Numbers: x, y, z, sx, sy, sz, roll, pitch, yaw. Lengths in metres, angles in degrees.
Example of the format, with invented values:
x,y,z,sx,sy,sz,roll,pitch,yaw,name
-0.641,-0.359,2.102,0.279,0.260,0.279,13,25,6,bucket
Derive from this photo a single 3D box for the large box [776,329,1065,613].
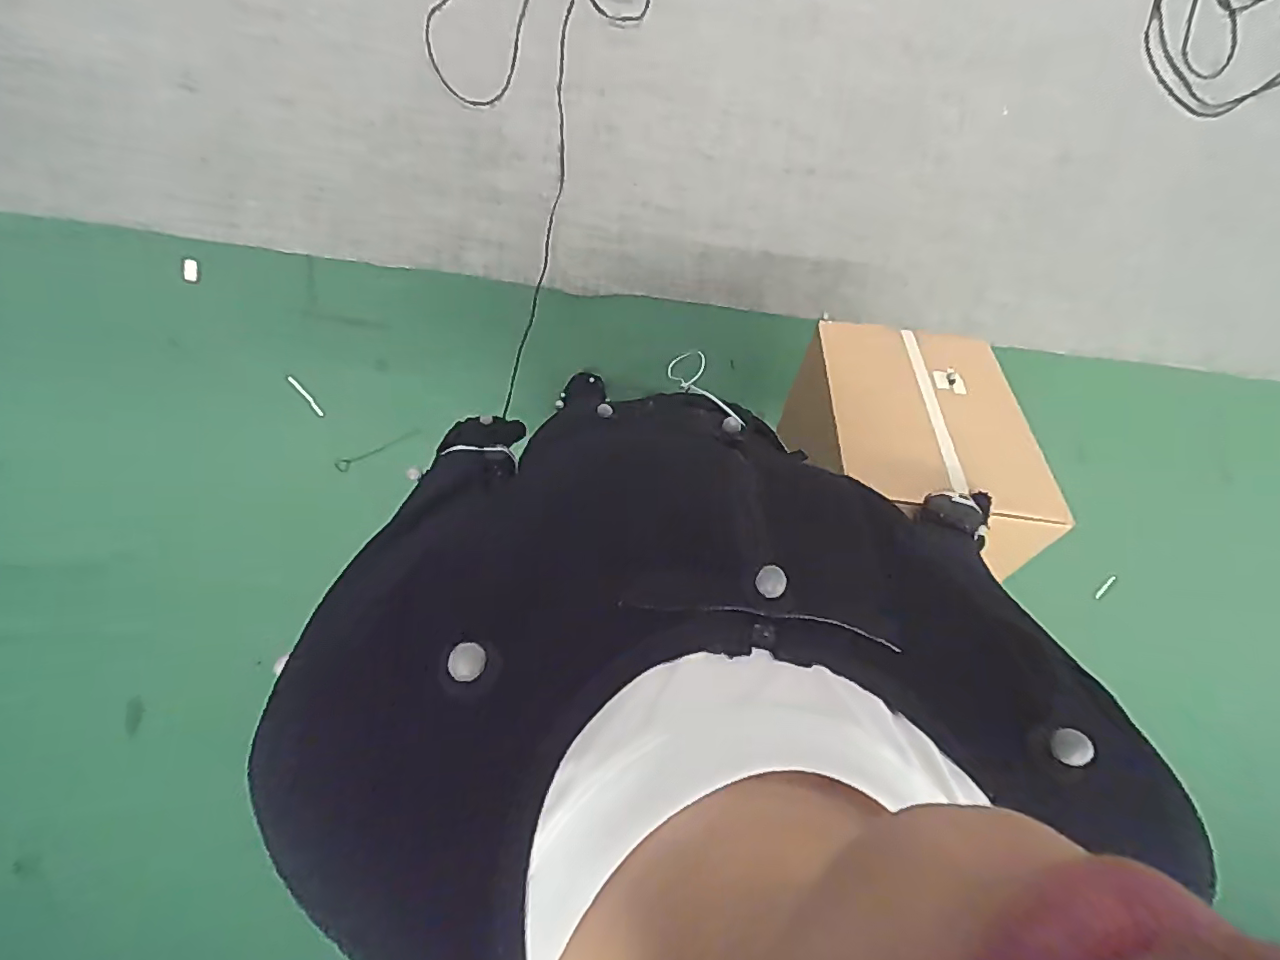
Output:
x,y,z,sx,sy,sz,roll,pitch,yaw,name
0.446,-0.015,0.984,0.320,0.408,0.320,8,141,0,large box
